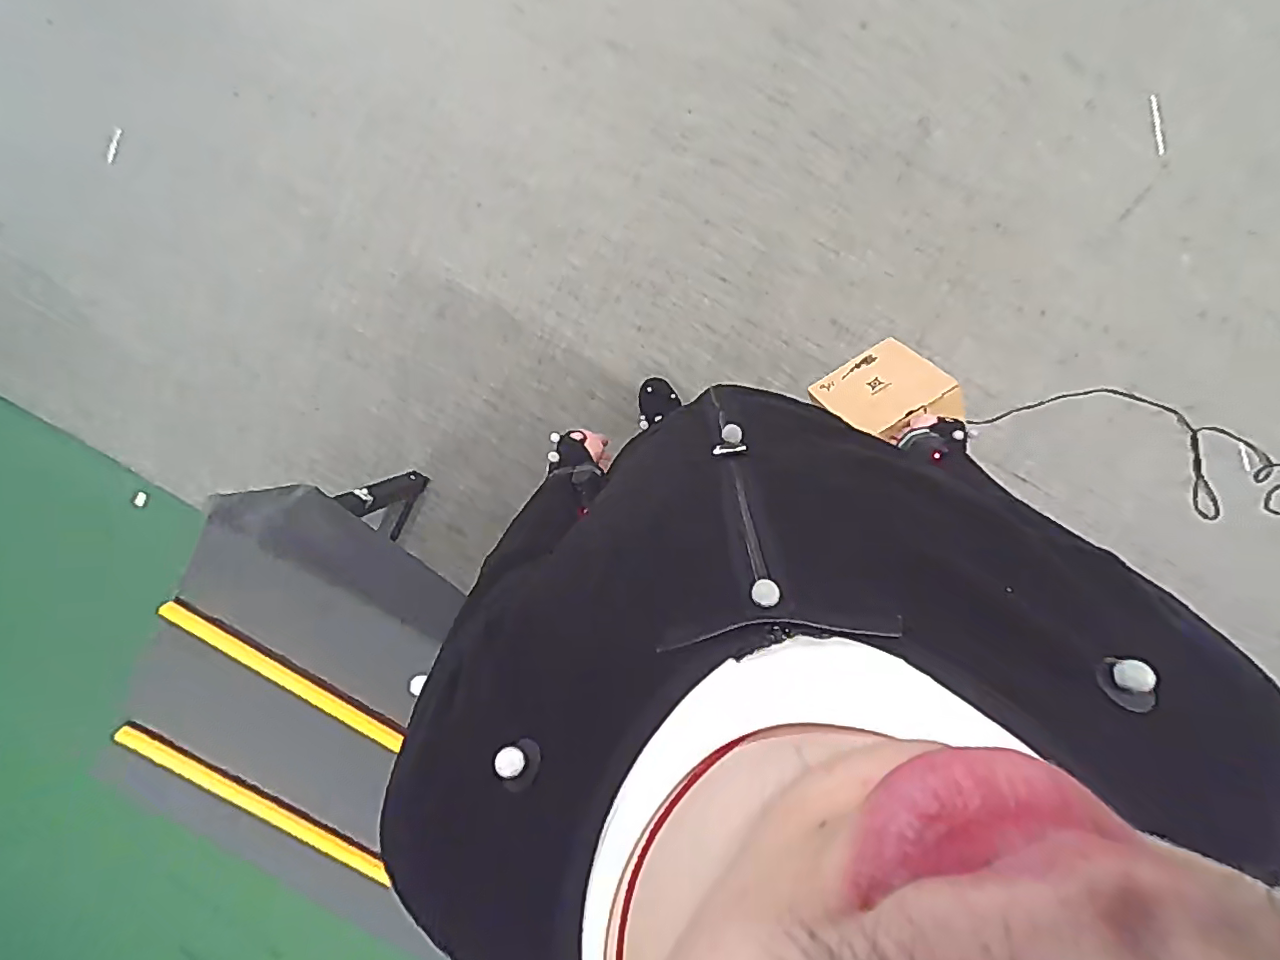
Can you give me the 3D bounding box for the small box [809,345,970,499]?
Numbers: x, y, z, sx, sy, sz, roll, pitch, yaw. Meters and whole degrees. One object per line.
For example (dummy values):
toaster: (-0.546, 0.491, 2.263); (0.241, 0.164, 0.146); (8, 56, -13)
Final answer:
small box: (0.426, -0.091, 0.922); (0.168, 0.179, 0.176); (-35, 129, 8)
